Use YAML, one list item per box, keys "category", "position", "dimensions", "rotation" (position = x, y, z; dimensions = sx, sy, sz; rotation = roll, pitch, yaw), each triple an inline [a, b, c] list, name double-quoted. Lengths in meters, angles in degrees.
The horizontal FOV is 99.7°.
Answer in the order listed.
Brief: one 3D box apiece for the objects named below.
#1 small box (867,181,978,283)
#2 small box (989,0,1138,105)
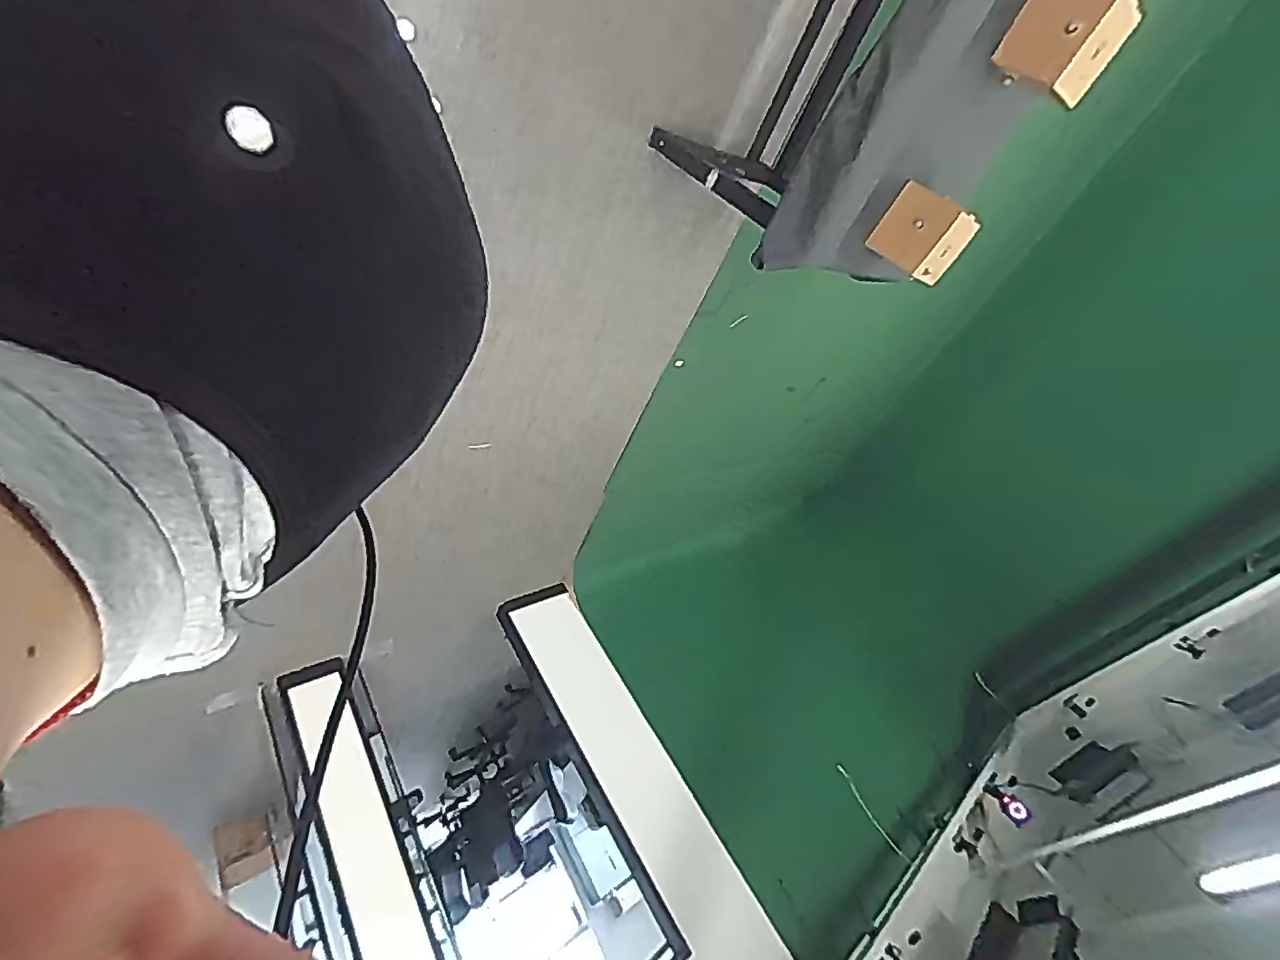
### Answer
- category: "small box"
  position: [0.742, -0.656, 1.431]
  dimensions: [0.168, 0.176, 0.179]
  rotation: [-7, 138, -44]
- category: "small box"
  position: [0.911, -0.964, 1.173]
  dimensions: [0.168, 0.176, 0.179]
  rotation: [-11, 144, -39]
